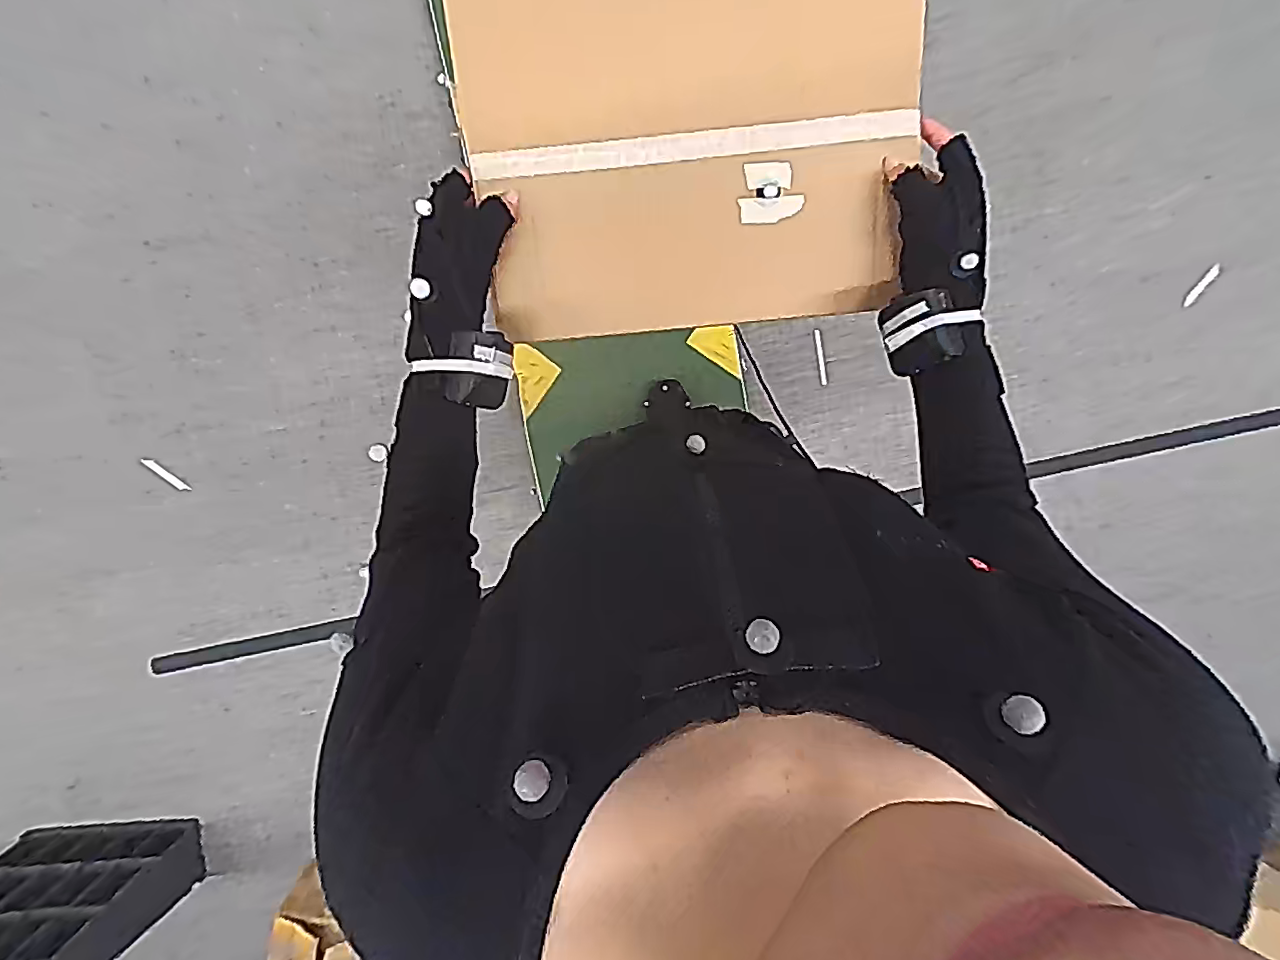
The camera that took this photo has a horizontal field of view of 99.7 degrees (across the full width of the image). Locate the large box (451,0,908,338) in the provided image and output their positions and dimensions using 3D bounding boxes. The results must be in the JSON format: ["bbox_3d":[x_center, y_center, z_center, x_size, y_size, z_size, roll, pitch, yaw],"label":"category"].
[{"bbox_3d":[0.043,-0.355,0.645,0.408,0.320,0.320,-6,108,0],"label":"large box"}]
